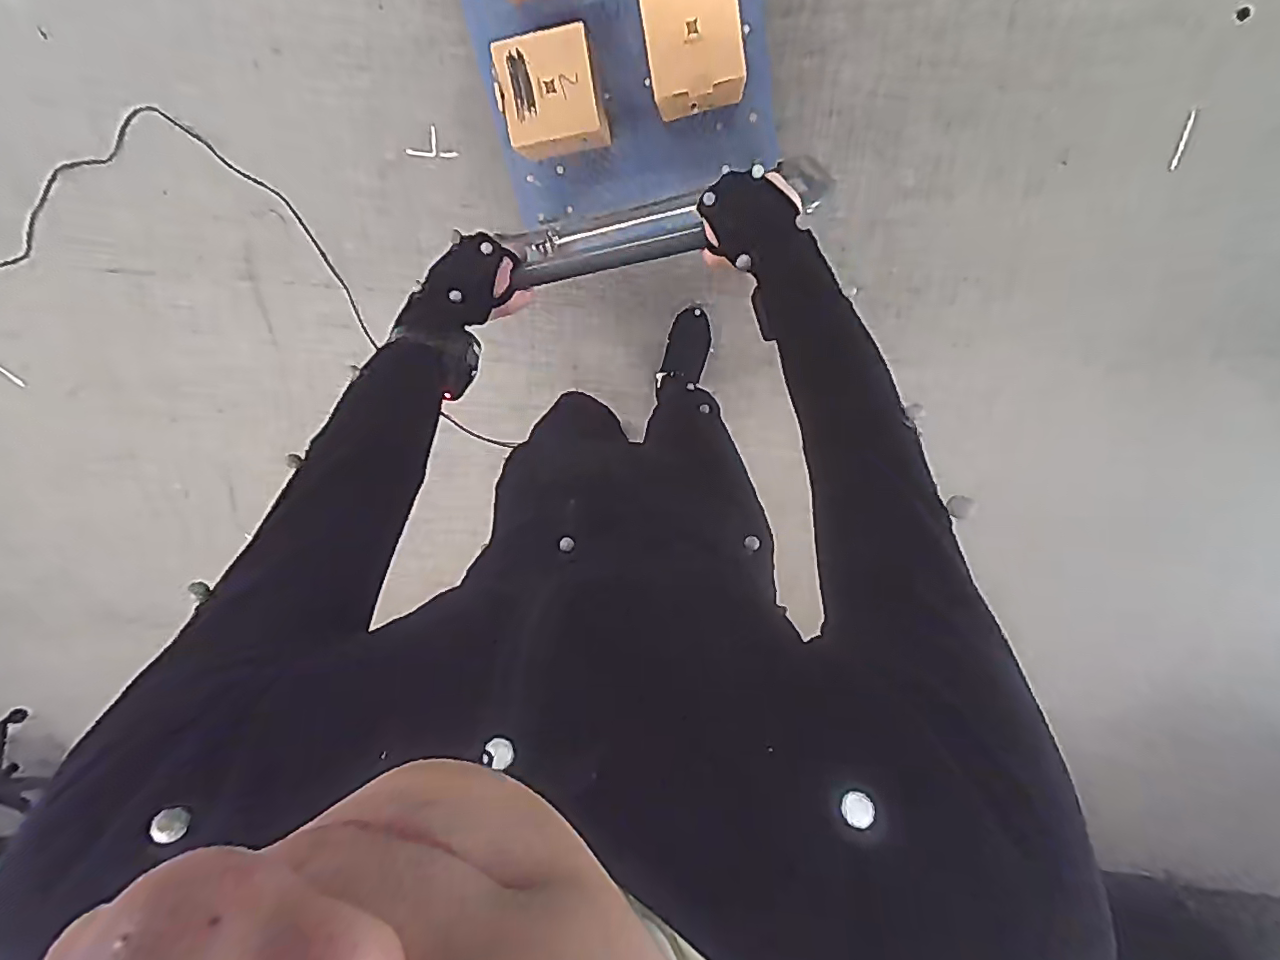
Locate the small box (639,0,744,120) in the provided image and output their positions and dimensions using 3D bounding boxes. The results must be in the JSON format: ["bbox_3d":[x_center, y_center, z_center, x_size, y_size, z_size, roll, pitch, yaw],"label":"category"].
[{"bbox_3d":[0.095,-0.808,1.010,0.168,0.176,0.179,-9,113,9],"label":"small box"}]
